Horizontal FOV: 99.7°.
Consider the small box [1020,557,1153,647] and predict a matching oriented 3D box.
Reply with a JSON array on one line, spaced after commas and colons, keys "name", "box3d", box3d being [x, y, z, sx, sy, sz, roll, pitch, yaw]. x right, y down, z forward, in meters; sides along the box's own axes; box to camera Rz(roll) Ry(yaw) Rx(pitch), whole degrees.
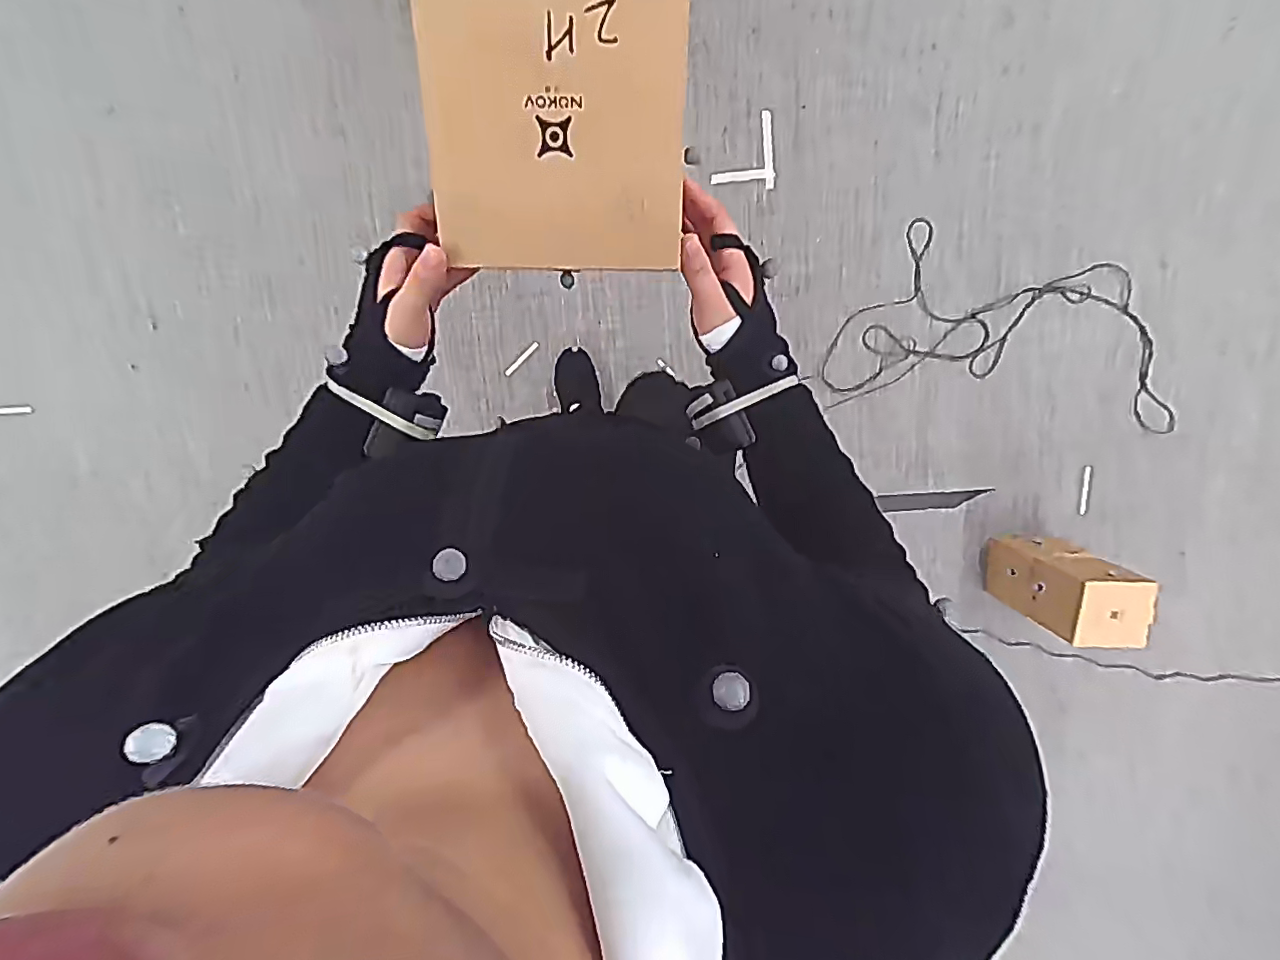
[{"name": "small box", "box3d": [1.096, 0.296, 1.340, 0.179, 0.176, 0.168, 1, 101, -1]}]

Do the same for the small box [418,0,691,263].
[{"name": "small box", "box3d": [-0.053, -0.263, 0.417, 0.168, 0.176, 0.179, 0, 110, -2]}]

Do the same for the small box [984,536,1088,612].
[{"name": "small box", "box3d": [1.089, 0.258, 1.499, 0.168, 0.176, 0.179, -4, 102, -1]}]
